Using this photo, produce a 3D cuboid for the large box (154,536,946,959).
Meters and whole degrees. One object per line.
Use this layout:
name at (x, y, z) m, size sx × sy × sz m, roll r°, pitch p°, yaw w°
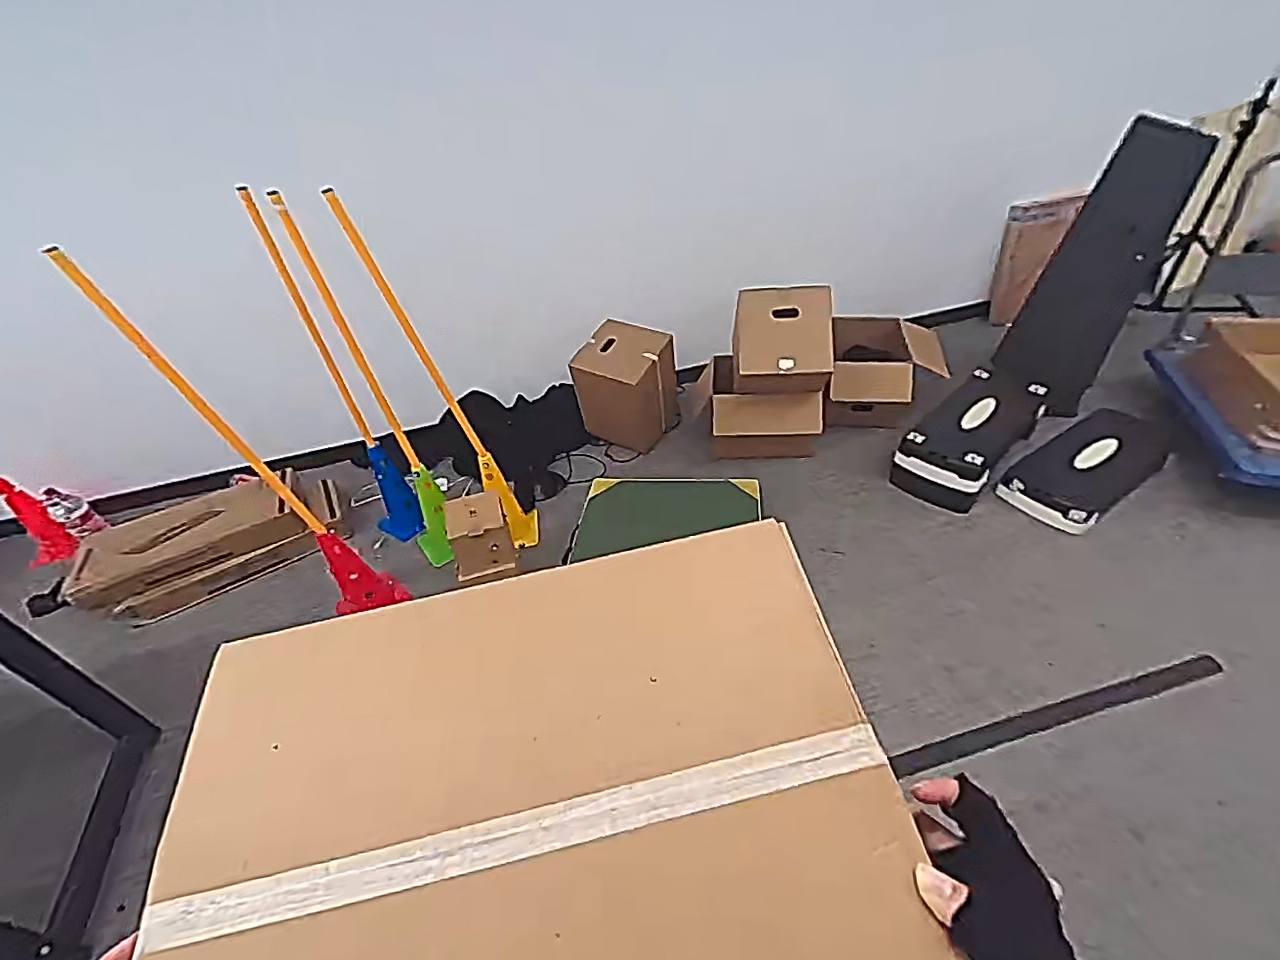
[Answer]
large box at (-0.050, 0.289, 0.423) m, size 0.408 × 0.320 × 0.320 m, roll -12°, pitch 53°, yaw -2°
